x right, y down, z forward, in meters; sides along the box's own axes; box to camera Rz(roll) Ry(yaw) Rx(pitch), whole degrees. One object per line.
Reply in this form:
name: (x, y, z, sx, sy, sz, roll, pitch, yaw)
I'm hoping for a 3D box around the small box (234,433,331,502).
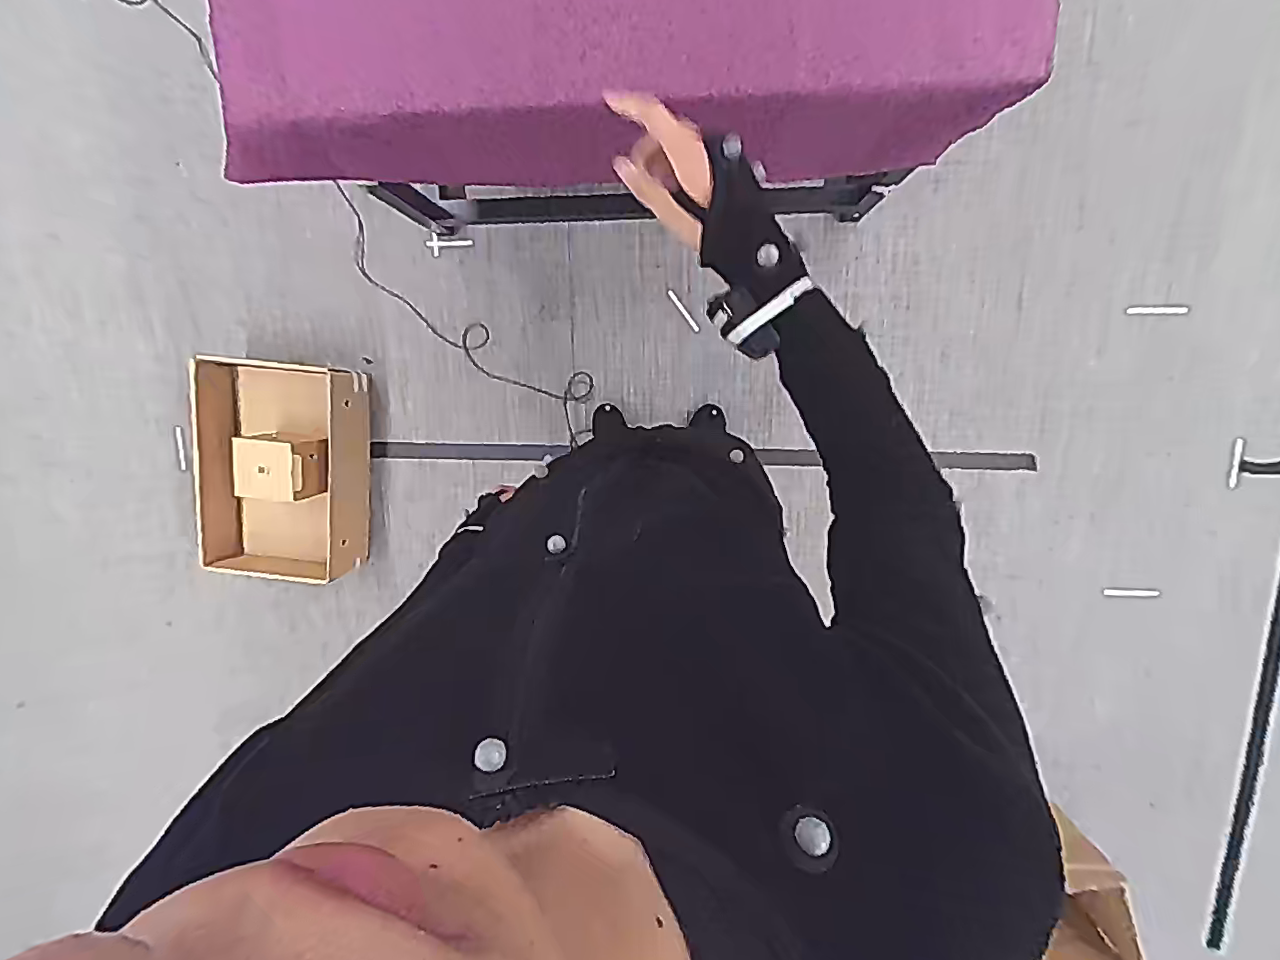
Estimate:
small box: (-1.019, -0.041, 1.557, 0.179, 0.176, 0.168, 6, 100, 3)
